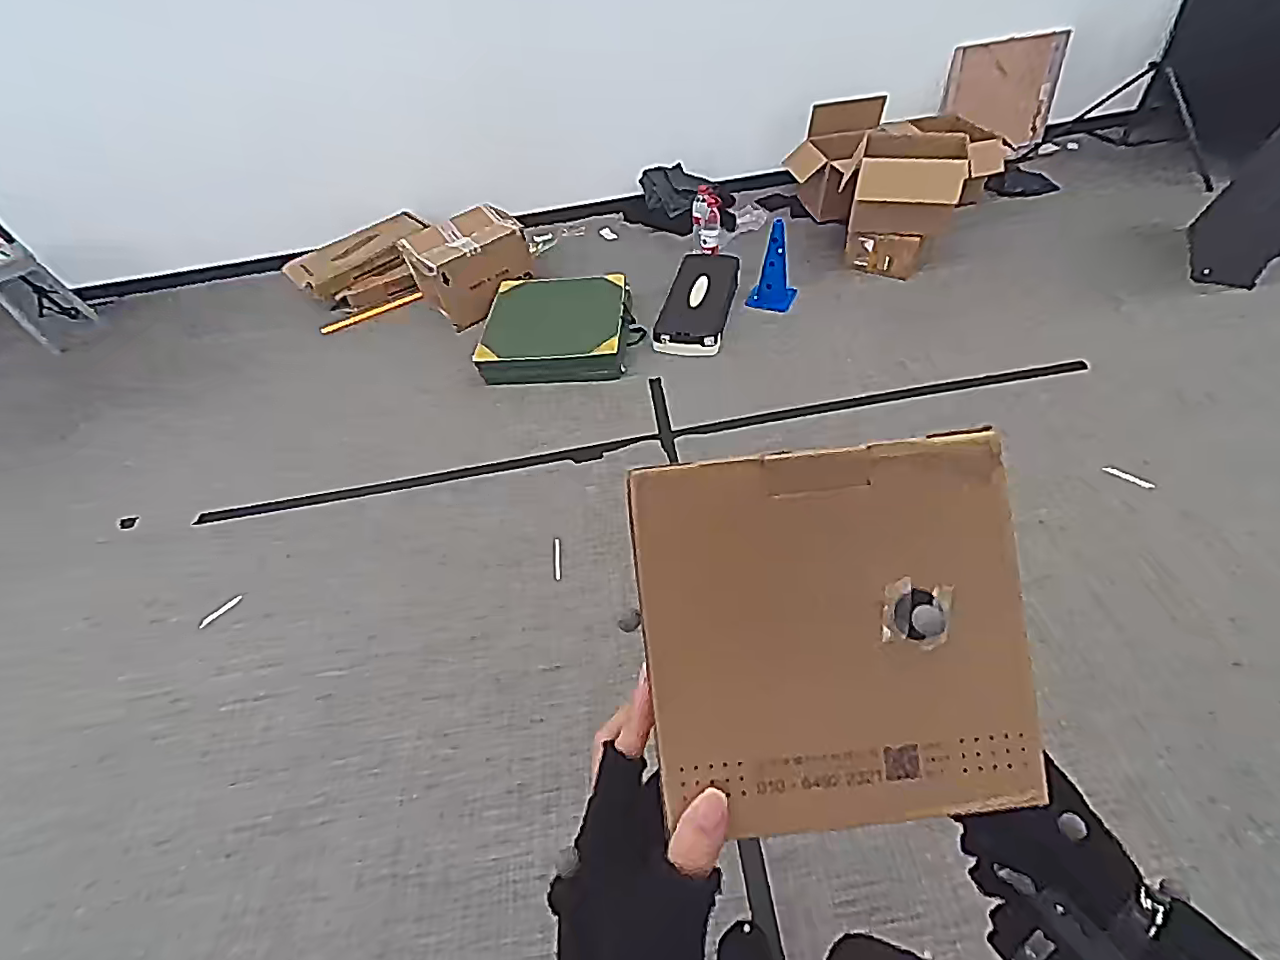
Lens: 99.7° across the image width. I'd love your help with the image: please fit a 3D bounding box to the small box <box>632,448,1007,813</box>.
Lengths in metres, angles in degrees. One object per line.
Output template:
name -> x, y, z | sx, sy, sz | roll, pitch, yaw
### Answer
small box -> 0.090, 0.079, 0.336 | 0.168, 0.179, 0.176 | -7, 88, 1
